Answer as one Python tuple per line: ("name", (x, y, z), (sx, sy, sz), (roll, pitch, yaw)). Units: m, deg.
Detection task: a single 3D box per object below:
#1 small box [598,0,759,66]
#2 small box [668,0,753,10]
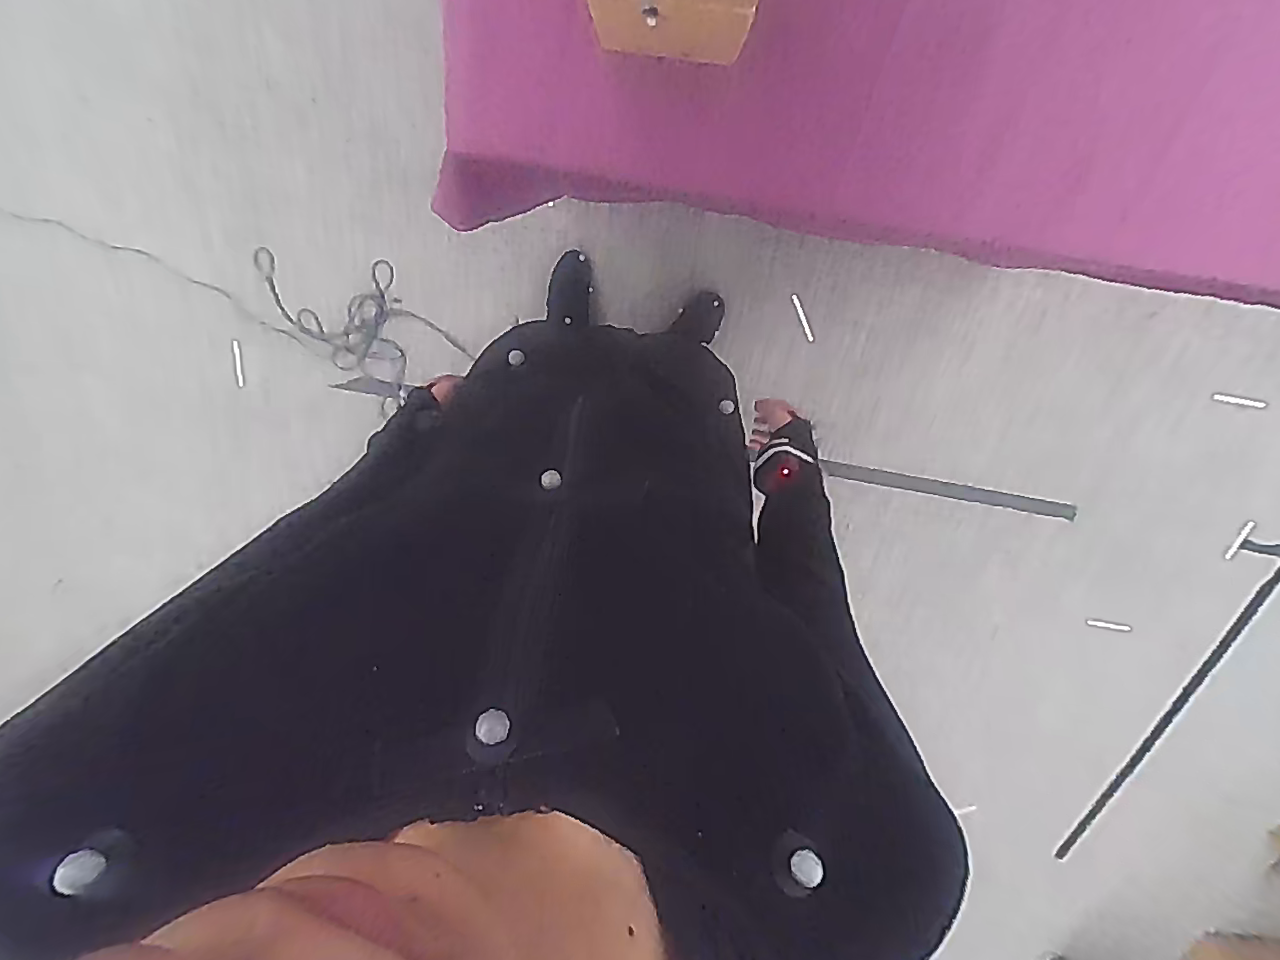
("small box", (0.044, -0.564, 0.552), (0.168, 0.176, 0.179), (7, 114, -1))
("small box", (0.035, -0.499, 0.402), (0.168, 0.176, 0.179), (6, 114, 0))
